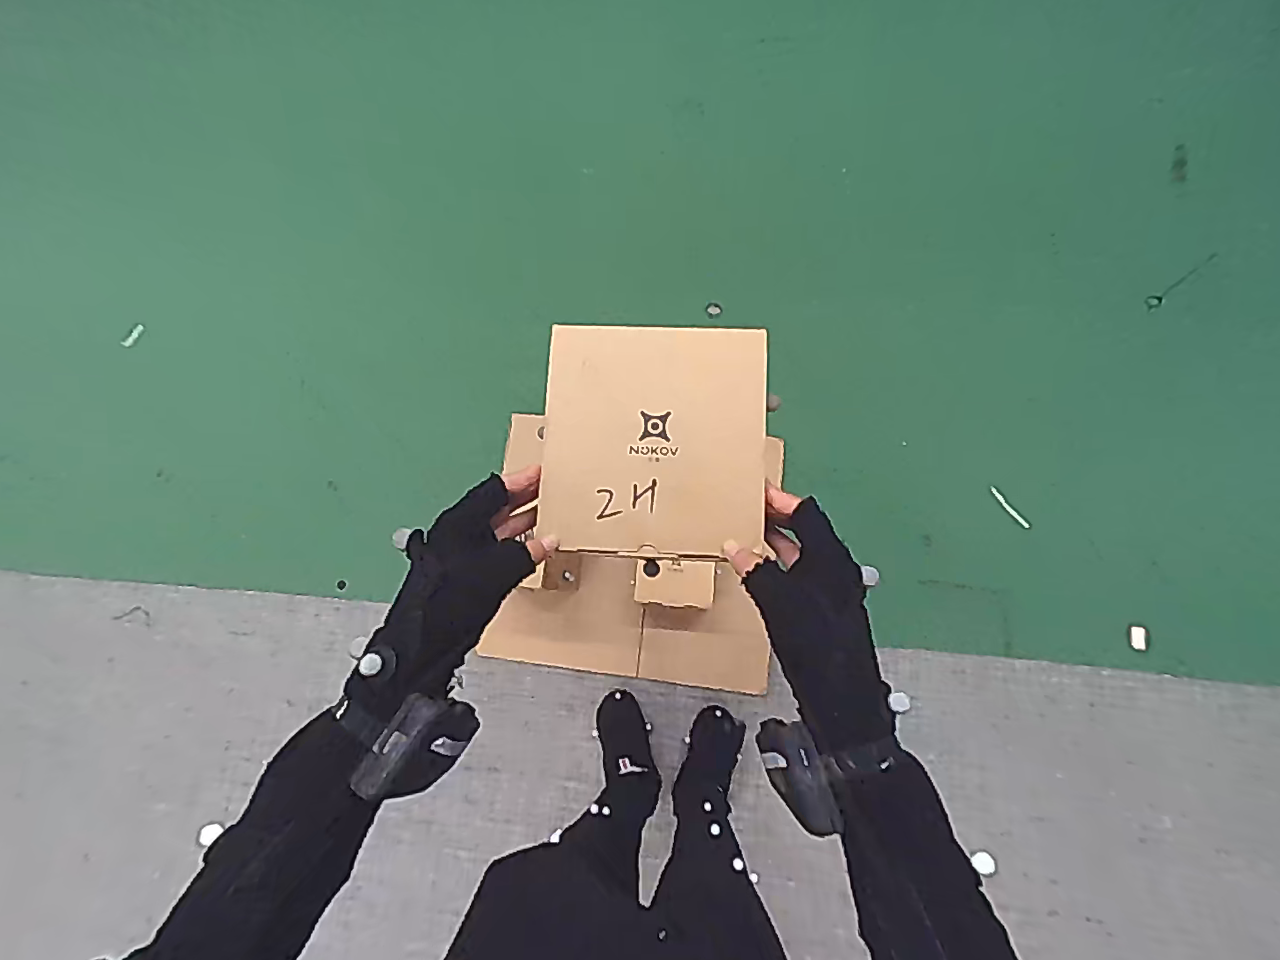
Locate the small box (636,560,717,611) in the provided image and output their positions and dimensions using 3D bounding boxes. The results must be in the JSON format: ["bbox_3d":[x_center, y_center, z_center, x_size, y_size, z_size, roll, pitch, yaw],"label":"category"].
[{"bbox_3d":[0.086,0.195,1.211,0.168,0.176,0.179,4,79,6],"label":"small box"}]

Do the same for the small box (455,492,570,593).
[{"bbox_3d":[-0.237,0.129,1.083,0.179,0.176,0.168,8,79,9],"label":"small box"}]

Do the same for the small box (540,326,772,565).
[{"bbox_3d":[0.018,-0.018,0.479,0.168,0.176,0.179,2,82,5],"label":"small box"}]
